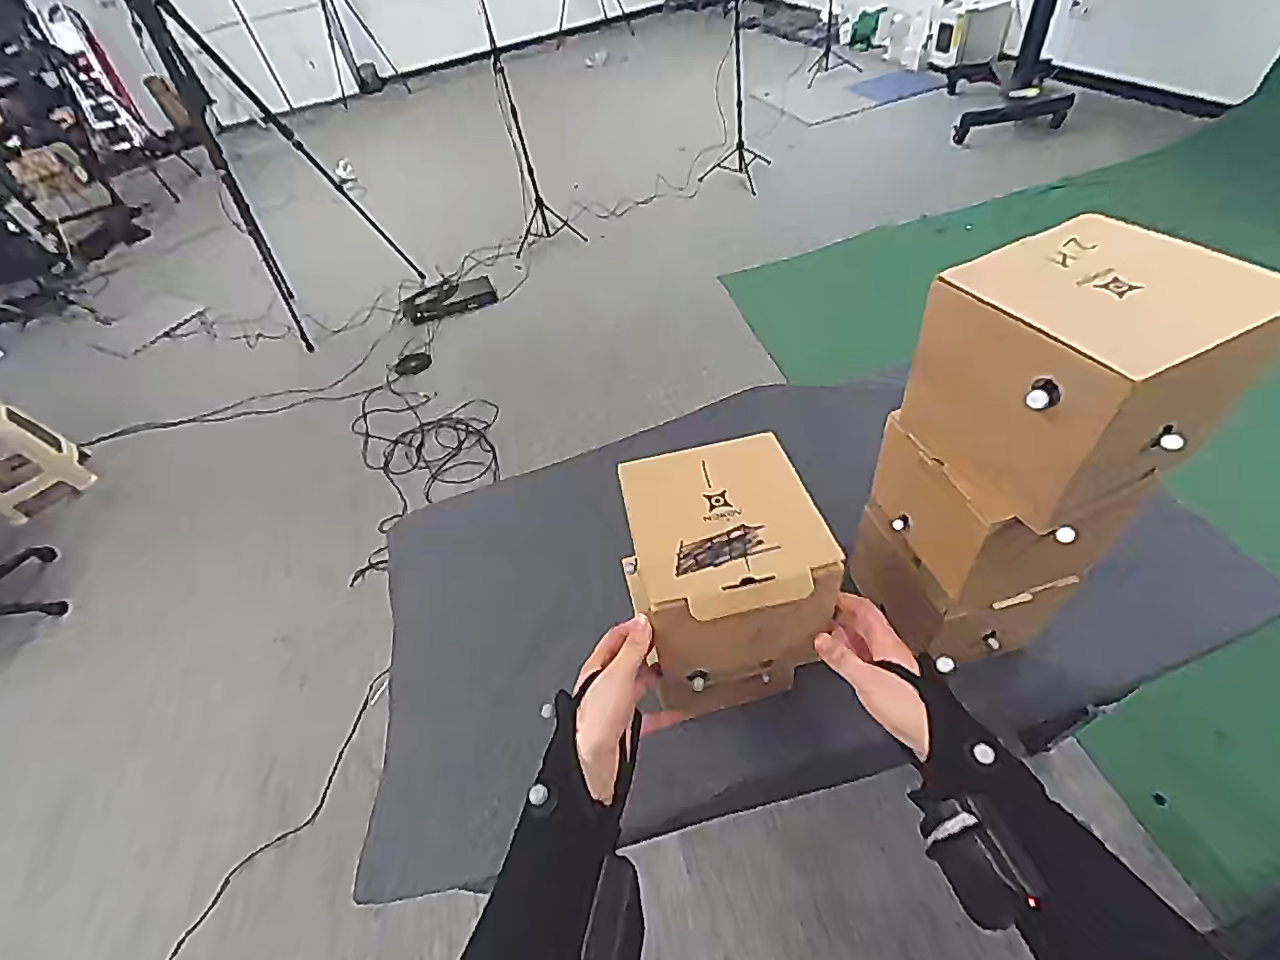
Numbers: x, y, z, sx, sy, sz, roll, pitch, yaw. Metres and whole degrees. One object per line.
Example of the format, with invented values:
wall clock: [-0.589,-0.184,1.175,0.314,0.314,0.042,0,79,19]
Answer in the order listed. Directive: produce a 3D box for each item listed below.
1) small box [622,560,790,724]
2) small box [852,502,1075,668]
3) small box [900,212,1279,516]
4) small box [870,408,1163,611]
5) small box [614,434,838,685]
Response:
small box: [0.089,0.195,0.715,0.179,0.176,0.168,-17,46,-1]
small box: [0.397,0.125,0.704,0.168,0.176,0.179,-16,47,-1]
small box: [0.357,-0.092,0.460,0.168,0.176,0.179,-24,47,-8]
small box: [0.377,0.014,0.586,0.179,0.176,0.168,-18,47,-2]
small box: [0.078,0.085,0.541,0.168,0.176,0.179,-12,46,-1]
